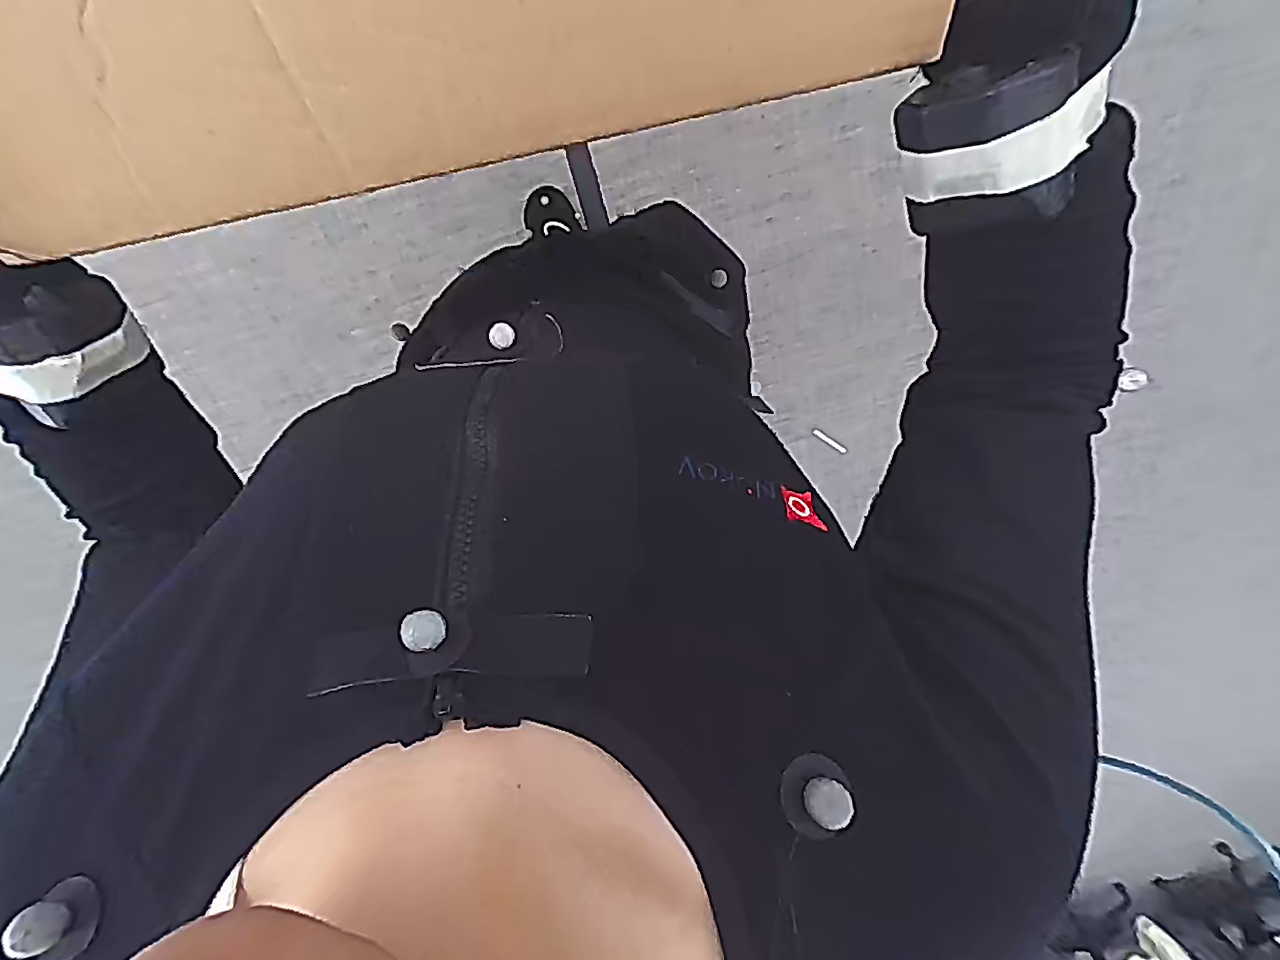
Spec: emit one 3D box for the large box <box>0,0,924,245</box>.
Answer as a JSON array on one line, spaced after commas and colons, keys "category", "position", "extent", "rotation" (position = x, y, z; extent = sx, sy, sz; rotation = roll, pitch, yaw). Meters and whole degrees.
[{"category": "large box", "position": [-0.120, -0.350, 0.208], "extent": [0.408, 0.320, 0.320], "rotation": [-9, 140, 5]}]
